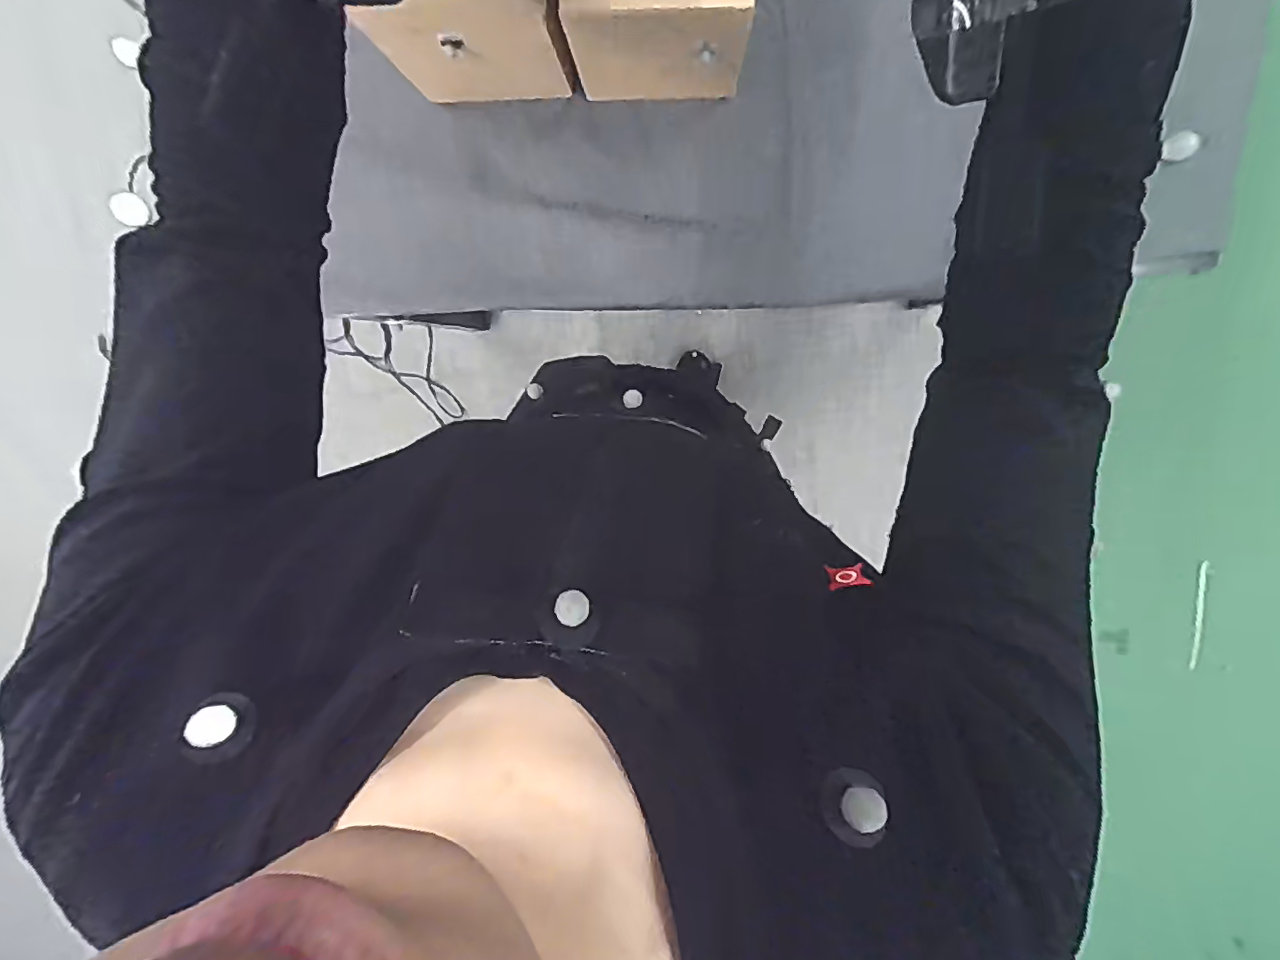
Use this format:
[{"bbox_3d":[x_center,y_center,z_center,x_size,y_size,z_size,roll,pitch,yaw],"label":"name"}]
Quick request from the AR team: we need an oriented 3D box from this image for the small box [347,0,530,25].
[{"bbox_3d":[-0.172,-0.479,0.396,0.179,0.176,0.168,-1,102,4],"label":"small box"}]
